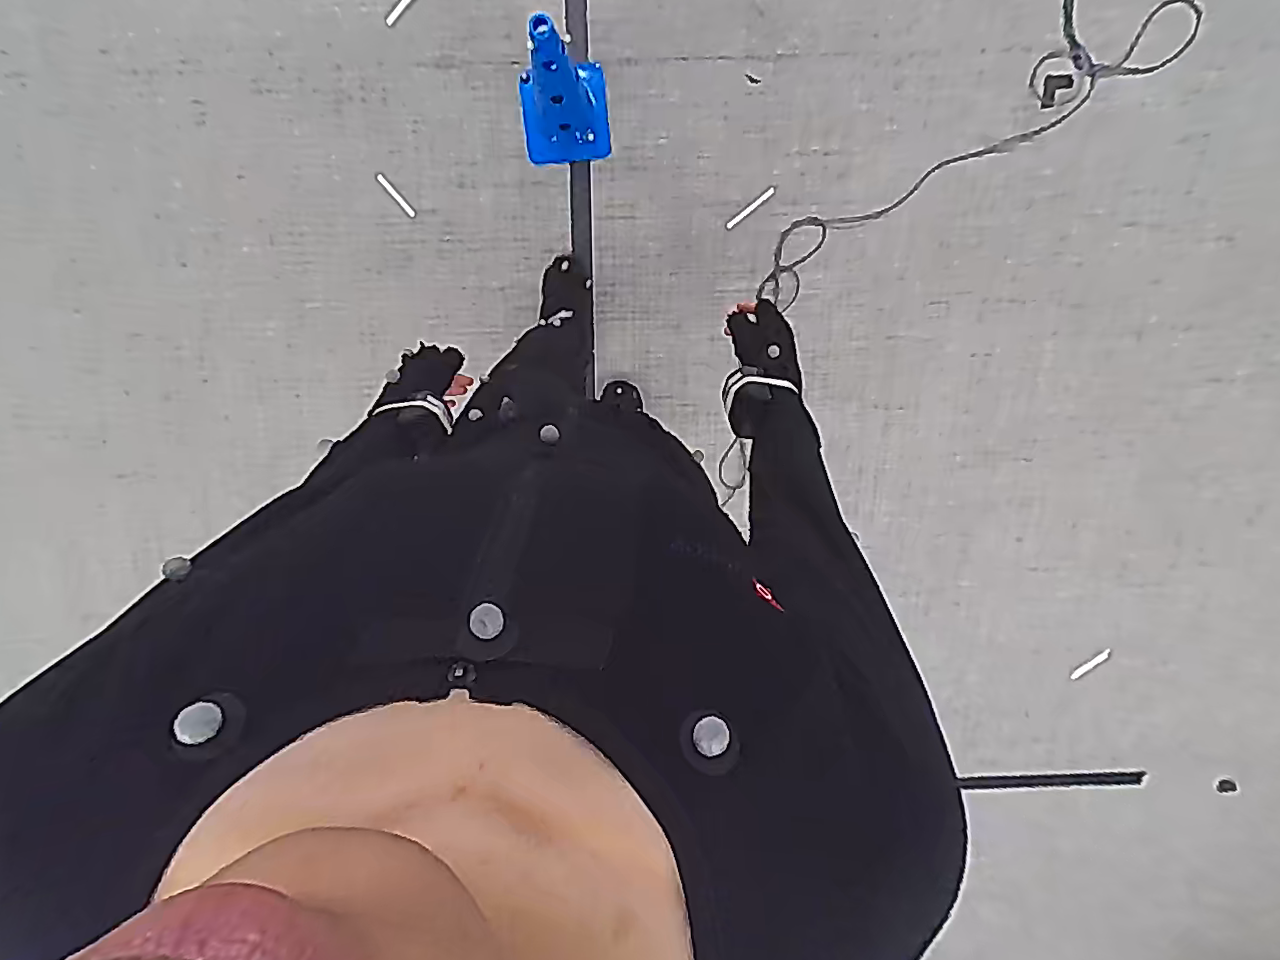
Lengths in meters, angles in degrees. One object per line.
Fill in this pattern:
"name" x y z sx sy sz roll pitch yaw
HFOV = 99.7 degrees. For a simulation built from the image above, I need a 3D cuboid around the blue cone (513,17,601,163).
"blue cone" -0.190 -0.817 1.104 0.192 0.380 0.193 -4 103 1
